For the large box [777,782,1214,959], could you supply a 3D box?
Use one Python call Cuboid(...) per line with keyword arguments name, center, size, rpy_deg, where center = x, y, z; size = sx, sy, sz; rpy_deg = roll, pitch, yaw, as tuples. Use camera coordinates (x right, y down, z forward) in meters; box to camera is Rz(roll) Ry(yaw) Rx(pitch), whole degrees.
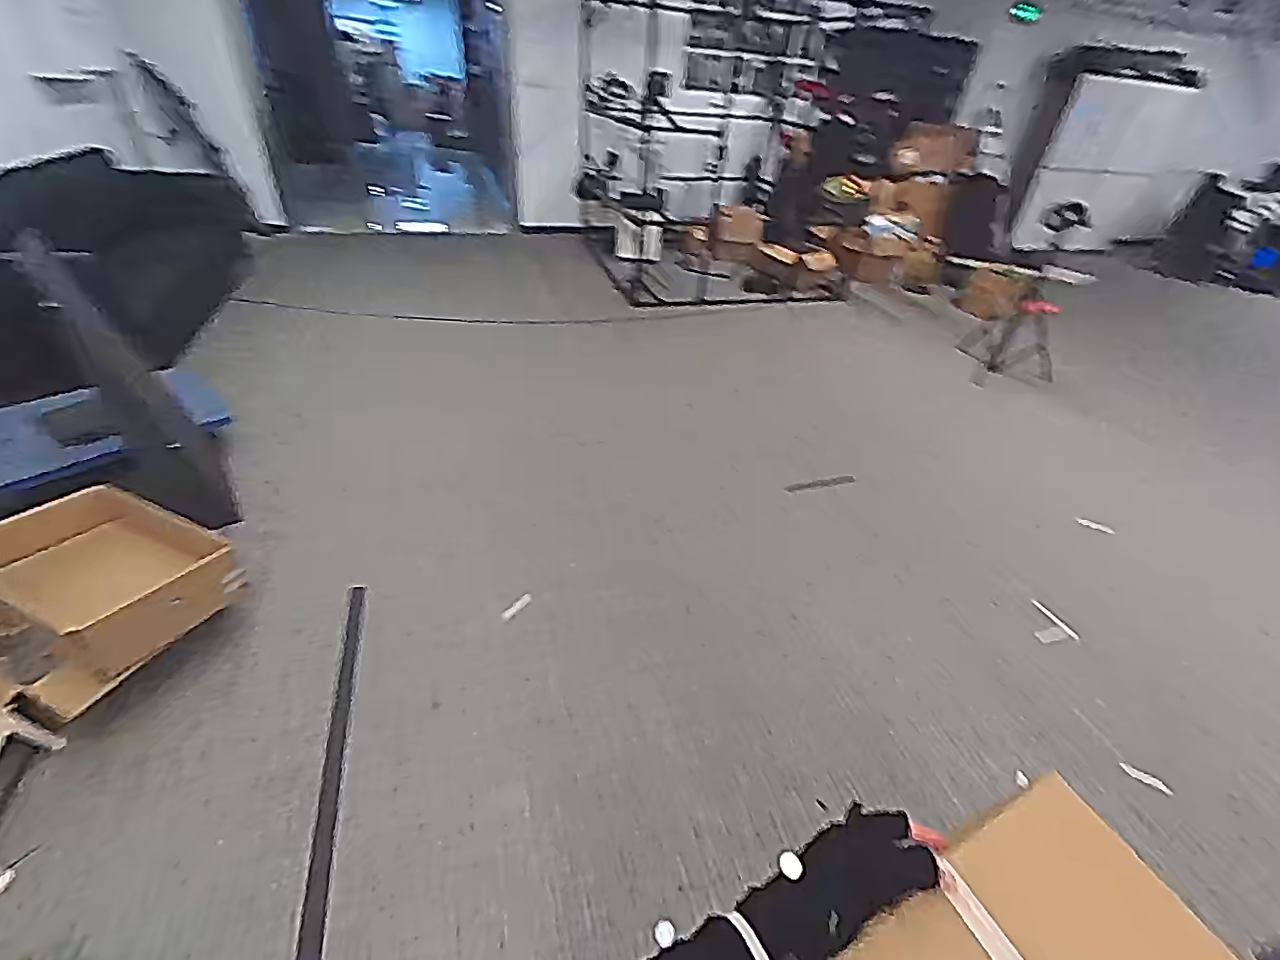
Cuboid(name="large box", center=(0.342, 0.563, 0.454), size=(0.320, 0.320, 0.408), rpy_deg=(-22, 50, -18))
